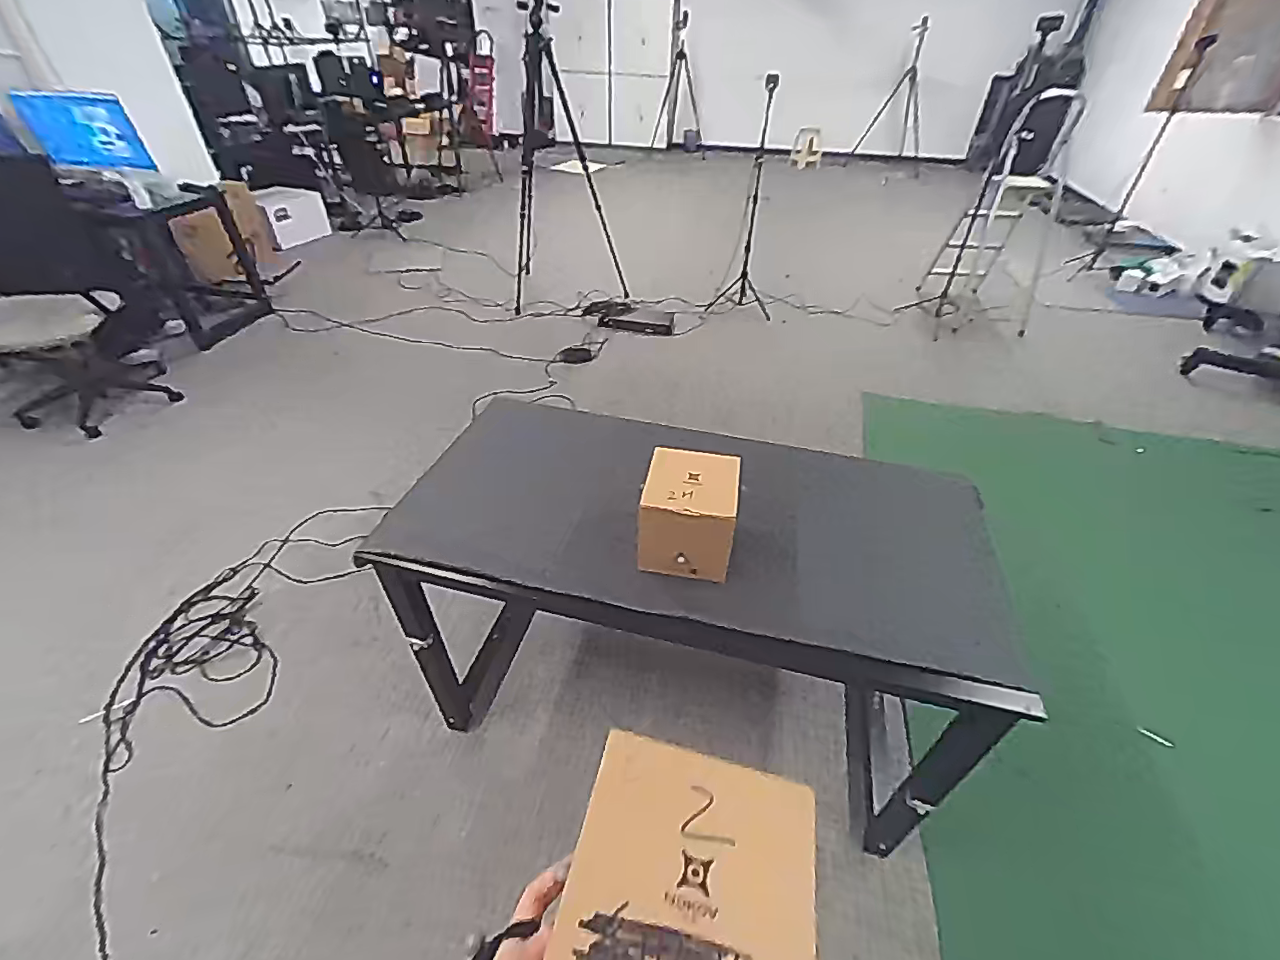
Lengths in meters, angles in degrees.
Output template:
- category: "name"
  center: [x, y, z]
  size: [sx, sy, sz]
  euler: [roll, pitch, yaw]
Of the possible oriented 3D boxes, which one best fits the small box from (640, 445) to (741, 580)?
- category: "small box"
  center: [0.093, 0.059, 1.015]
  size: [0.168, 0.176, 0.179]
  euler: [7, 39, 8]
